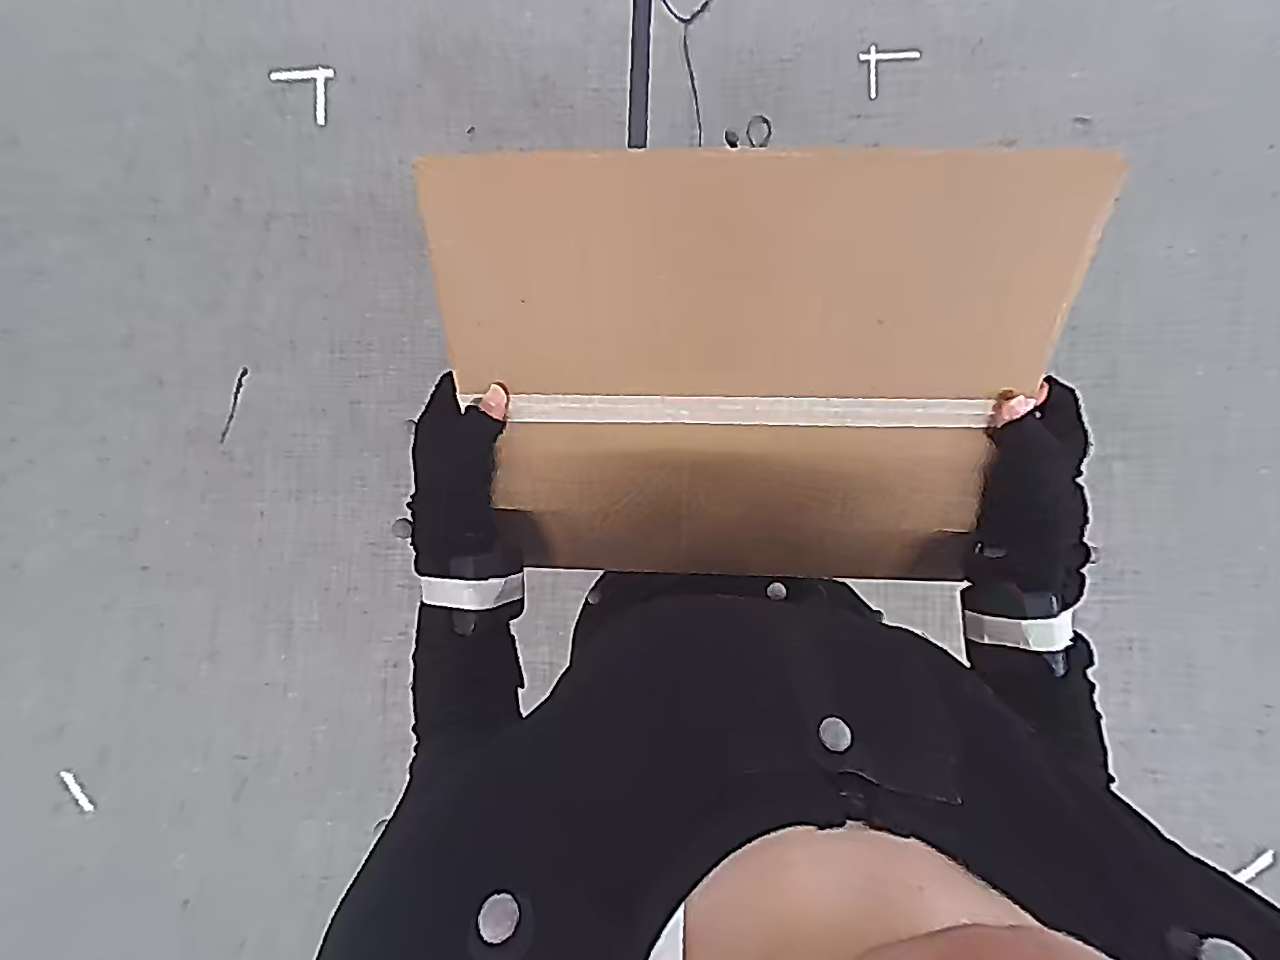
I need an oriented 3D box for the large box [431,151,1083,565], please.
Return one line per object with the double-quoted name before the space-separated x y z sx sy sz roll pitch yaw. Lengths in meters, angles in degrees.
"large box" 0.078 -0.135 0.532 0.408 0.320 0.320 1 121 4
